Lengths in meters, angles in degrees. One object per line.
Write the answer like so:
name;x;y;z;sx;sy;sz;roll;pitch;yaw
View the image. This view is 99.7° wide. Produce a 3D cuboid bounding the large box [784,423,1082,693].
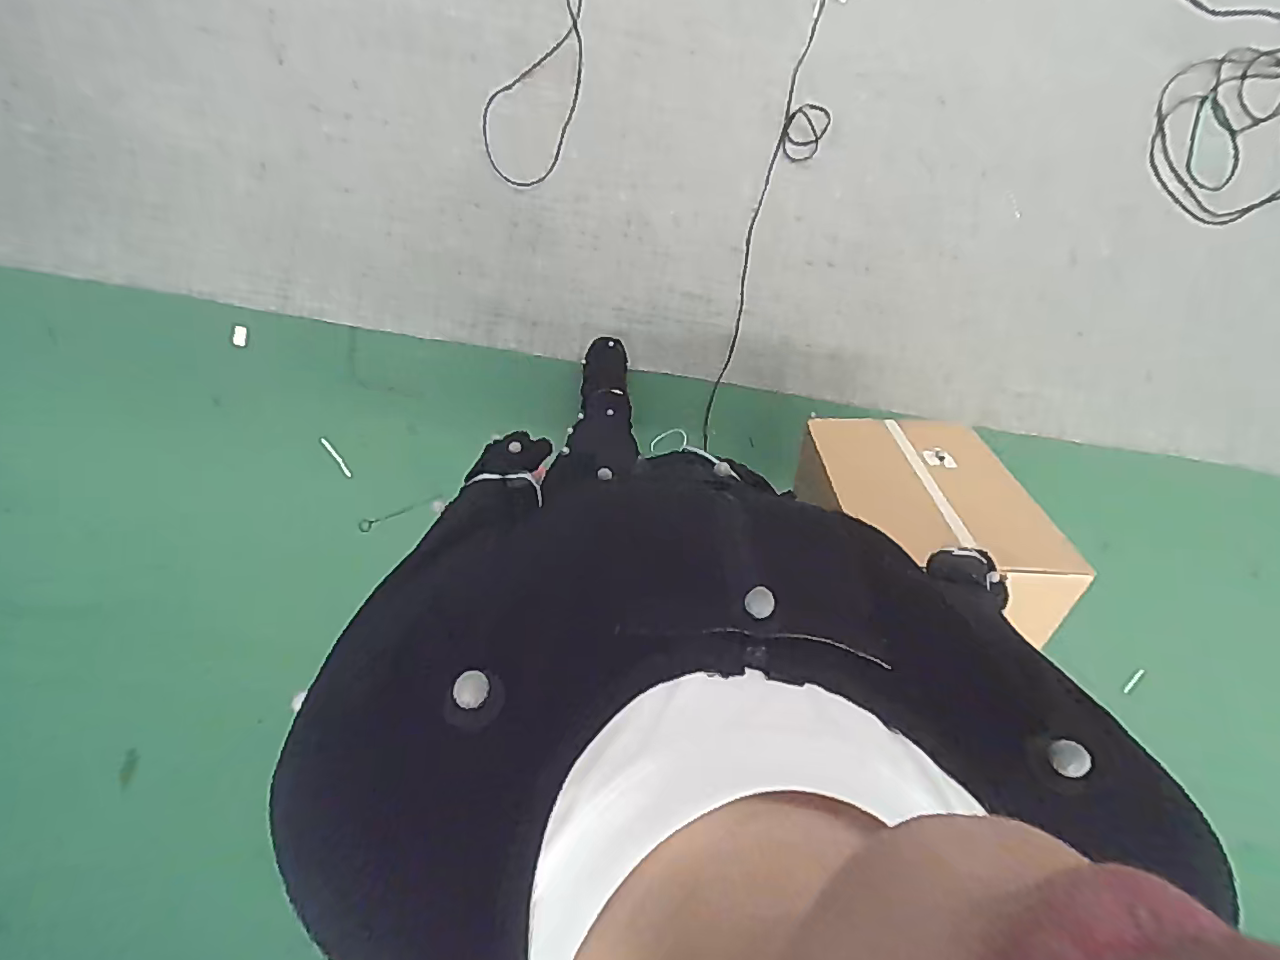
large box;0.472;0.130;0.998;0.320;0.408;0.320;2;126;2
